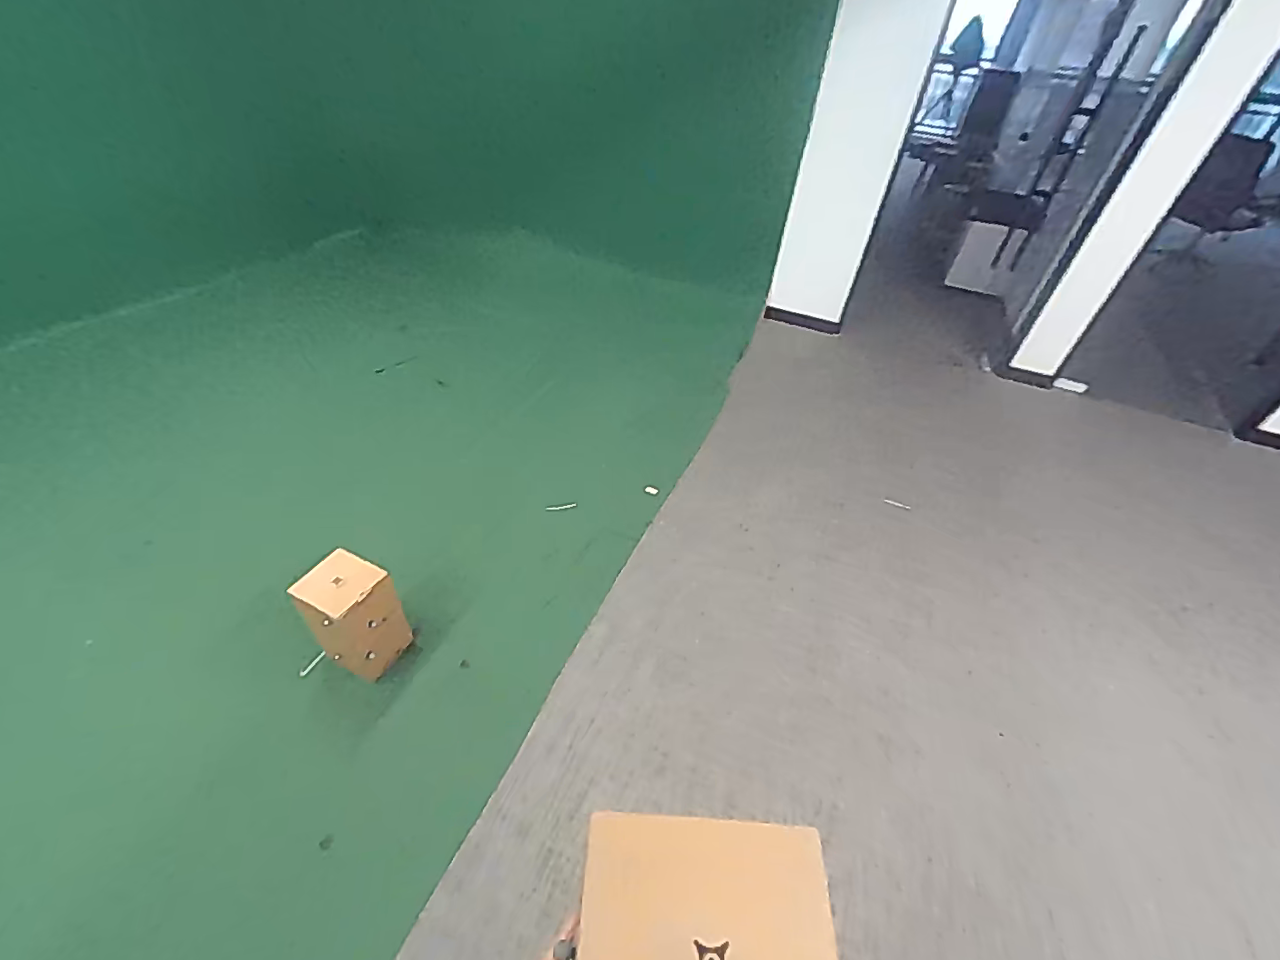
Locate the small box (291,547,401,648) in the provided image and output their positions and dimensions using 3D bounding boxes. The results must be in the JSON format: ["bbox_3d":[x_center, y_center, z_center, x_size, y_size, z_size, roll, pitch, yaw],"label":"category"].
[{"bbox_3d":[-0.772,0.316,1.437,0.179,0.176,0.168,21,44,16],"label":"small box"}]
